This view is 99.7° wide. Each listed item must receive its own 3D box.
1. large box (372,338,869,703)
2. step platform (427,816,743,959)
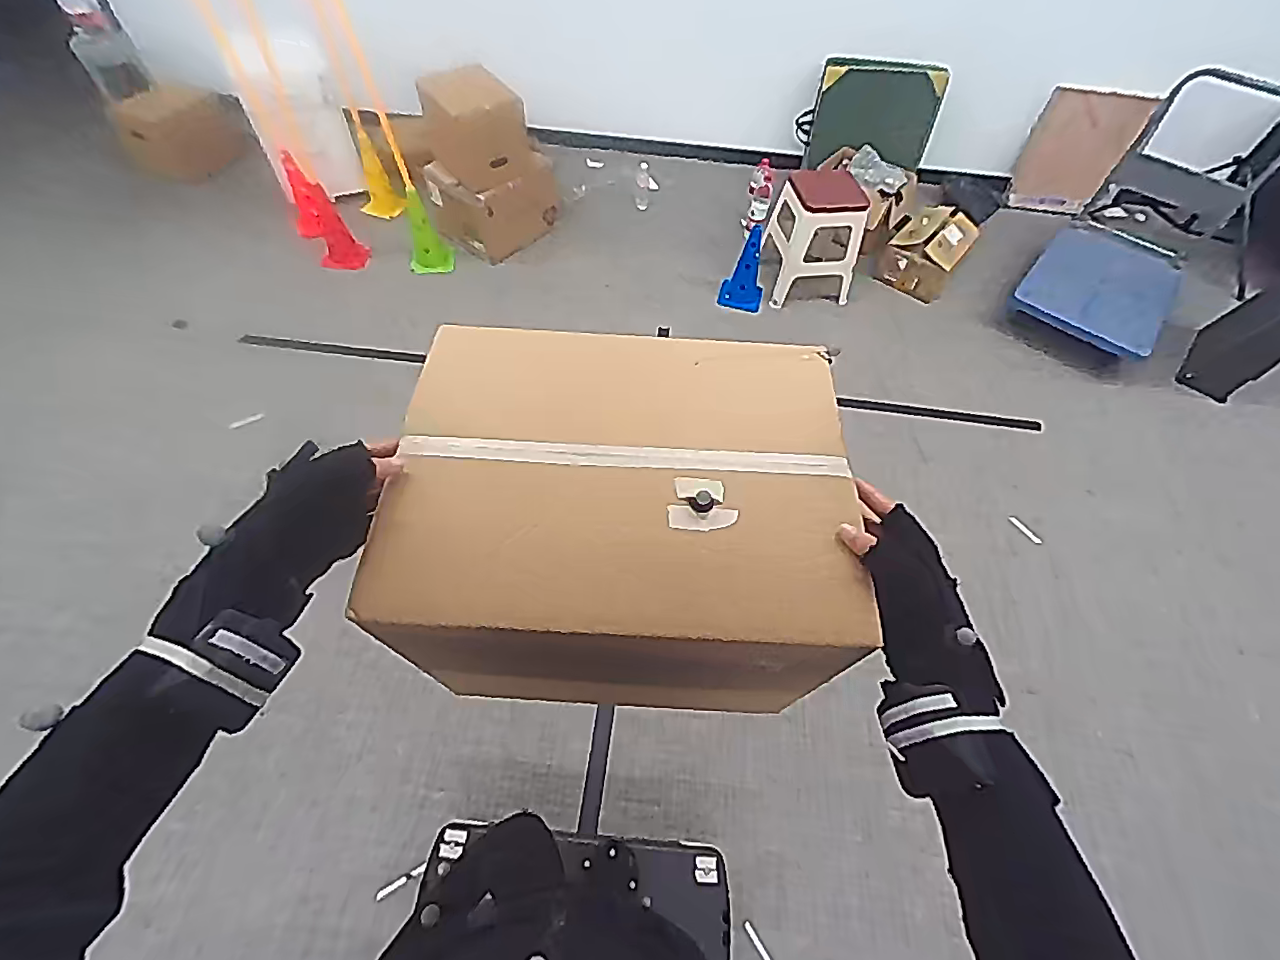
[{"bbox_3d":[-0.016,0.064,0.629,0.408,0.320,0.320,4,59,-1],"label":"large box"},{"bbox_3d":[-0.112,0.958,1.225,0.684,0.204,0.286,6,56,-1],"label":"step platform"}]
